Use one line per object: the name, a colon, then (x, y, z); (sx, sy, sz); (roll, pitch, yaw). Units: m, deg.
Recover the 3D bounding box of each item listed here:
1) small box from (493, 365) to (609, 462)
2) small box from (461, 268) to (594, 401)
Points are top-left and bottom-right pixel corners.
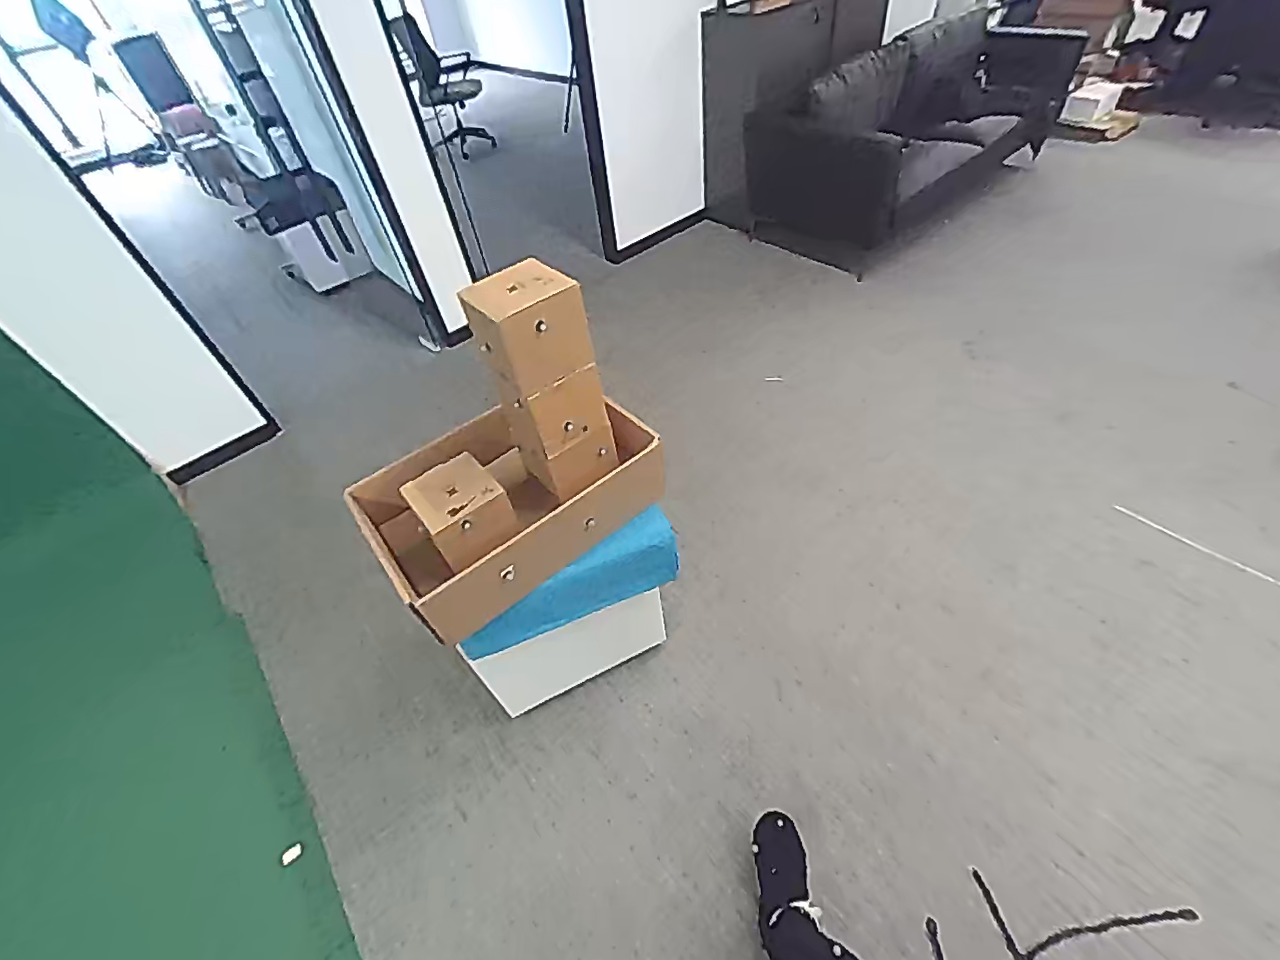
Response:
small box: (-0.190, -0.169, 1.174); (0.168, 0.176, 0.179); (-34, 50, -21)
small box: (-0.212, -0.282, 1.056); (0.179, 0.176, 0.168); (-33, 50, -21)
